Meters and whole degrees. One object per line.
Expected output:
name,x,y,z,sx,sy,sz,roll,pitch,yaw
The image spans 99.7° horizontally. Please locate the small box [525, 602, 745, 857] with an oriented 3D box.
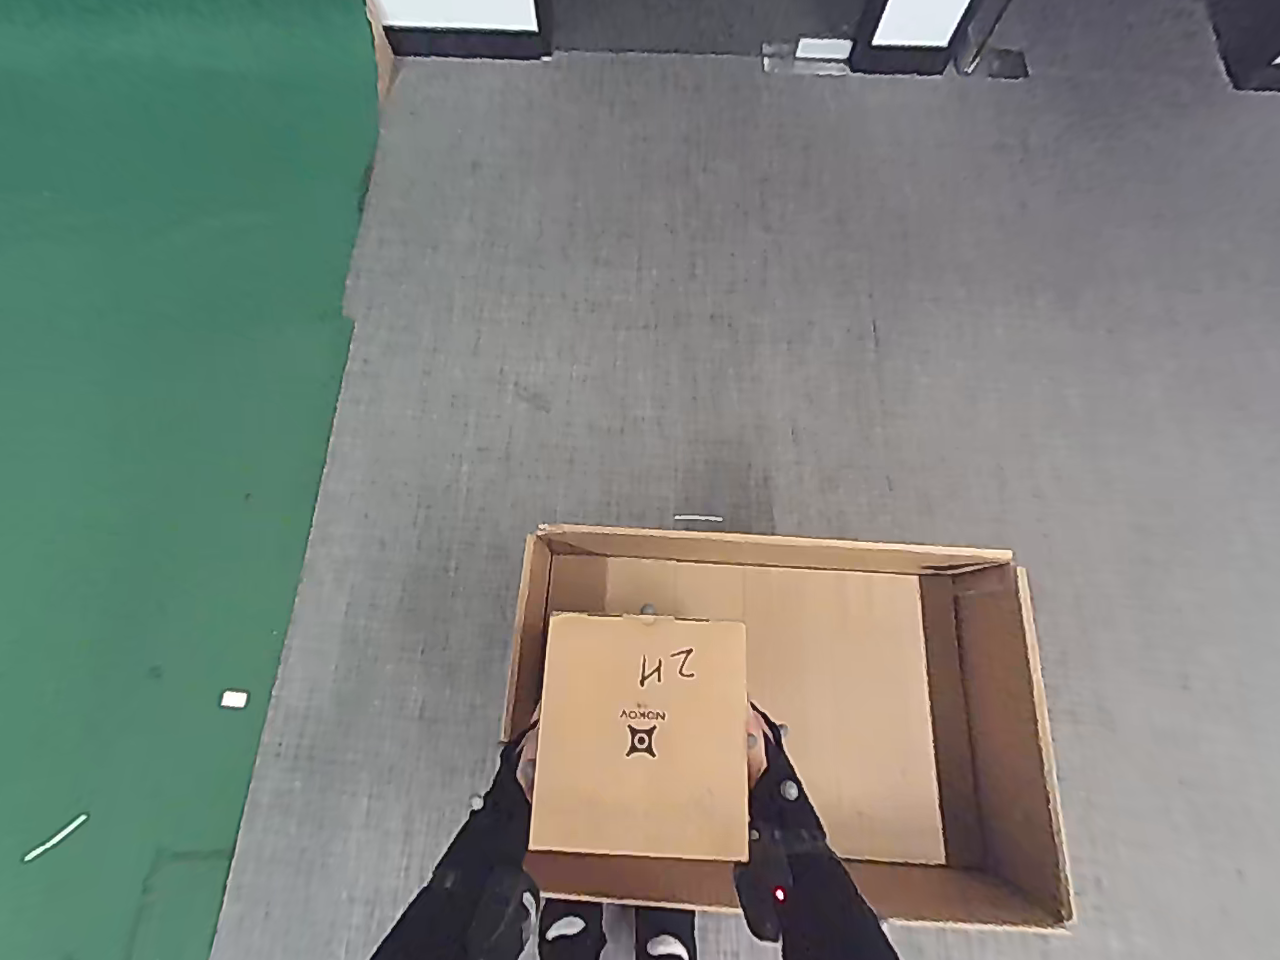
small box,0.001,0.213,0.498,0.168,0.176,0.179,3,72,1
